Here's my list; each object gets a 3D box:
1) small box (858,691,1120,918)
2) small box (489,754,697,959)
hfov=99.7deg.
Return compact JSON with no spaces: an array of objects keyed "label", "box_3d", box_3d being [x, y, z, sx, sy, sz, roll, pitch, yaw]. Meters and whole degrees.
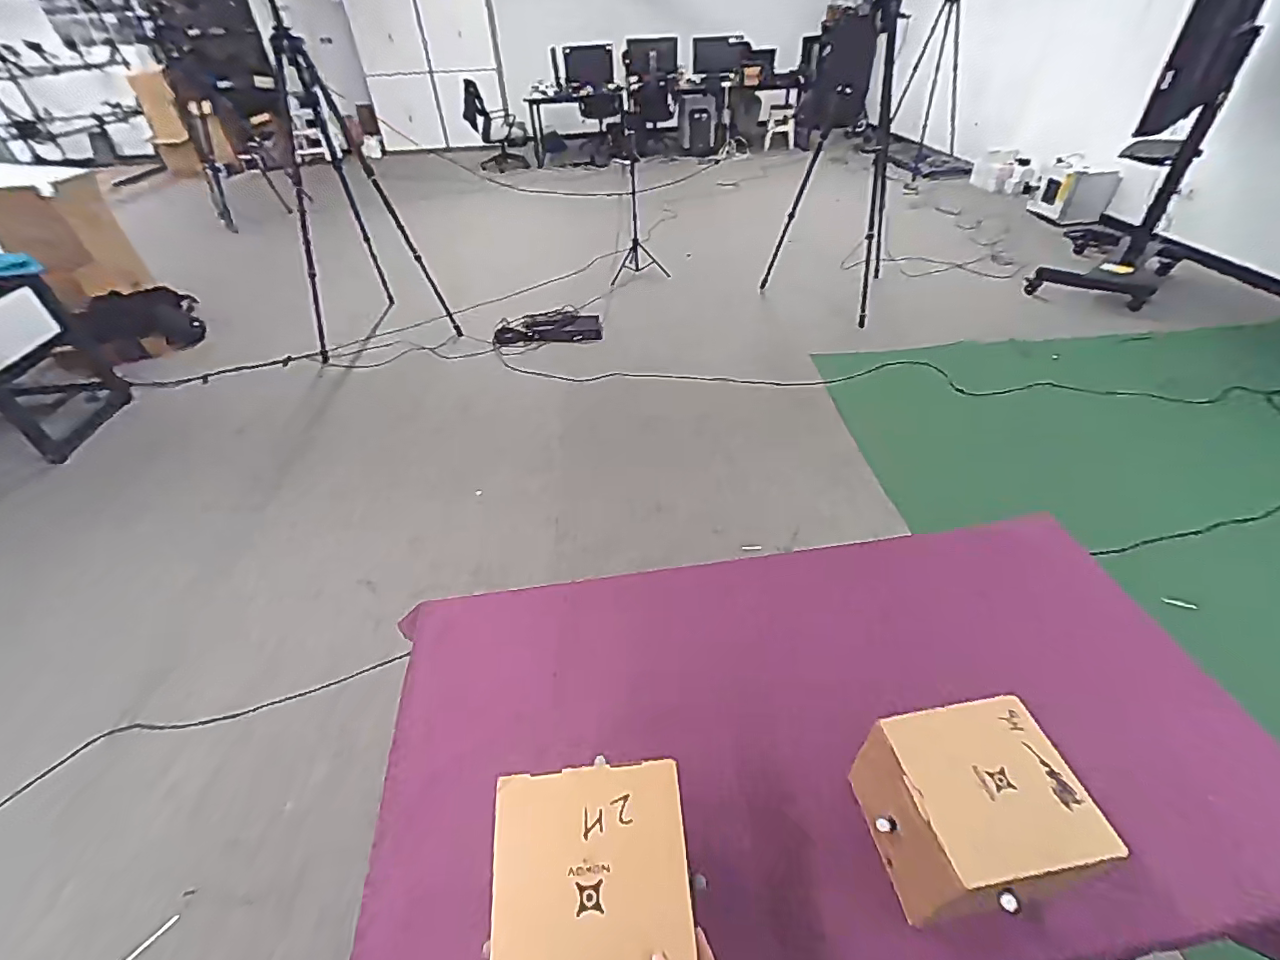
[{"label":"small box","box_3d":[0.370,0.373,0.621,0.179,0.176,0.168,-8,41,-4]},{"label":"small box","box_3d":[-0.036,0.369,0.517,0.168,0.176,0.179,-5,59,0]}]
